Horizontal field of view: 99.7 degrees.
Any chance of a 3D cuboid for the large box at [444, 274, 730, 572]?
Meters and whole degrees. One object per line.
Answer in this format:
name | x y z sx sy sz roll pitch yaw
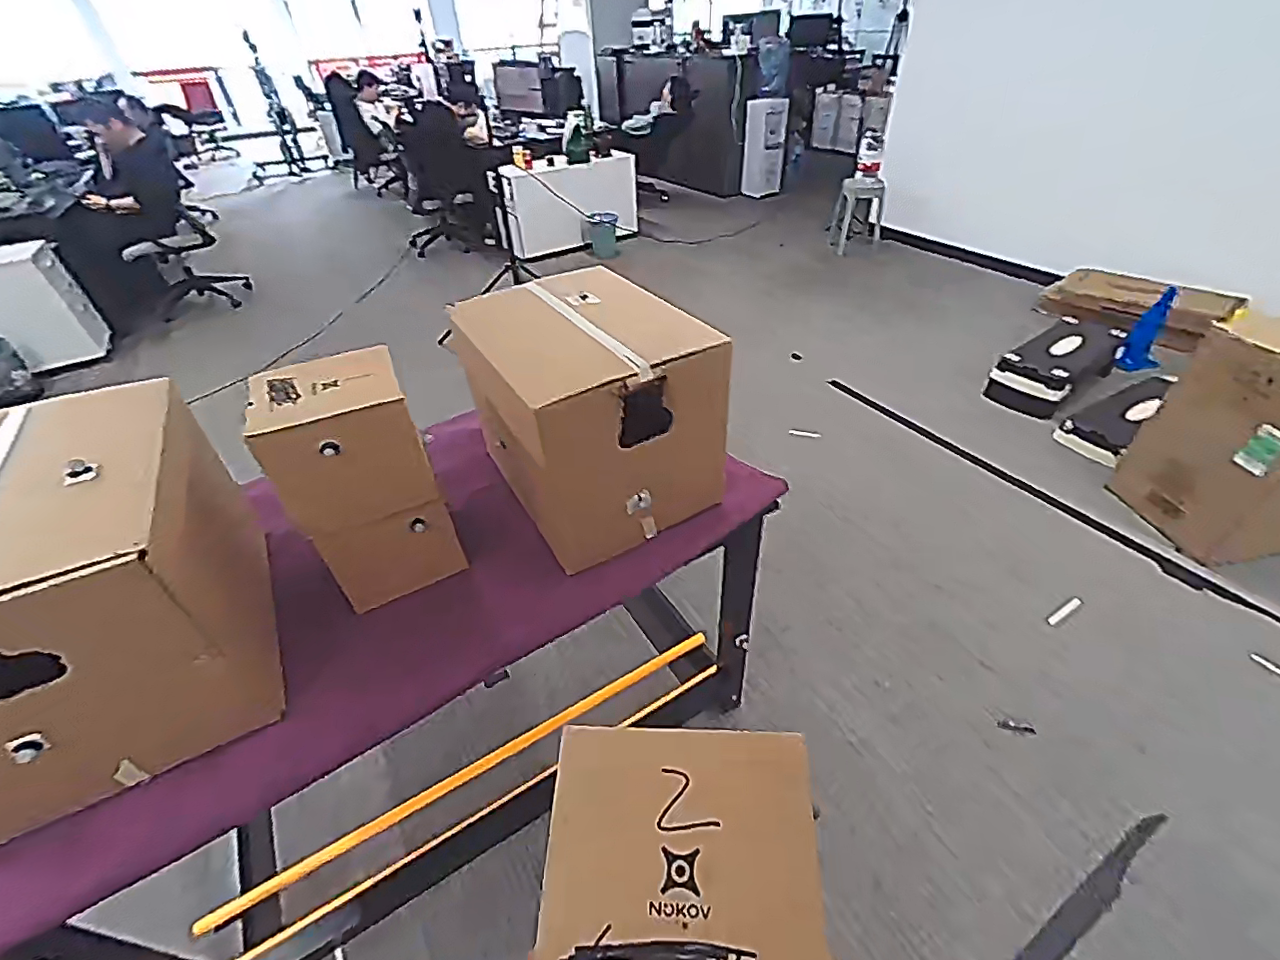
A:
large box | -0.090 -0.121 0.936 0.320 0.320 0.408 -23 43 -23
